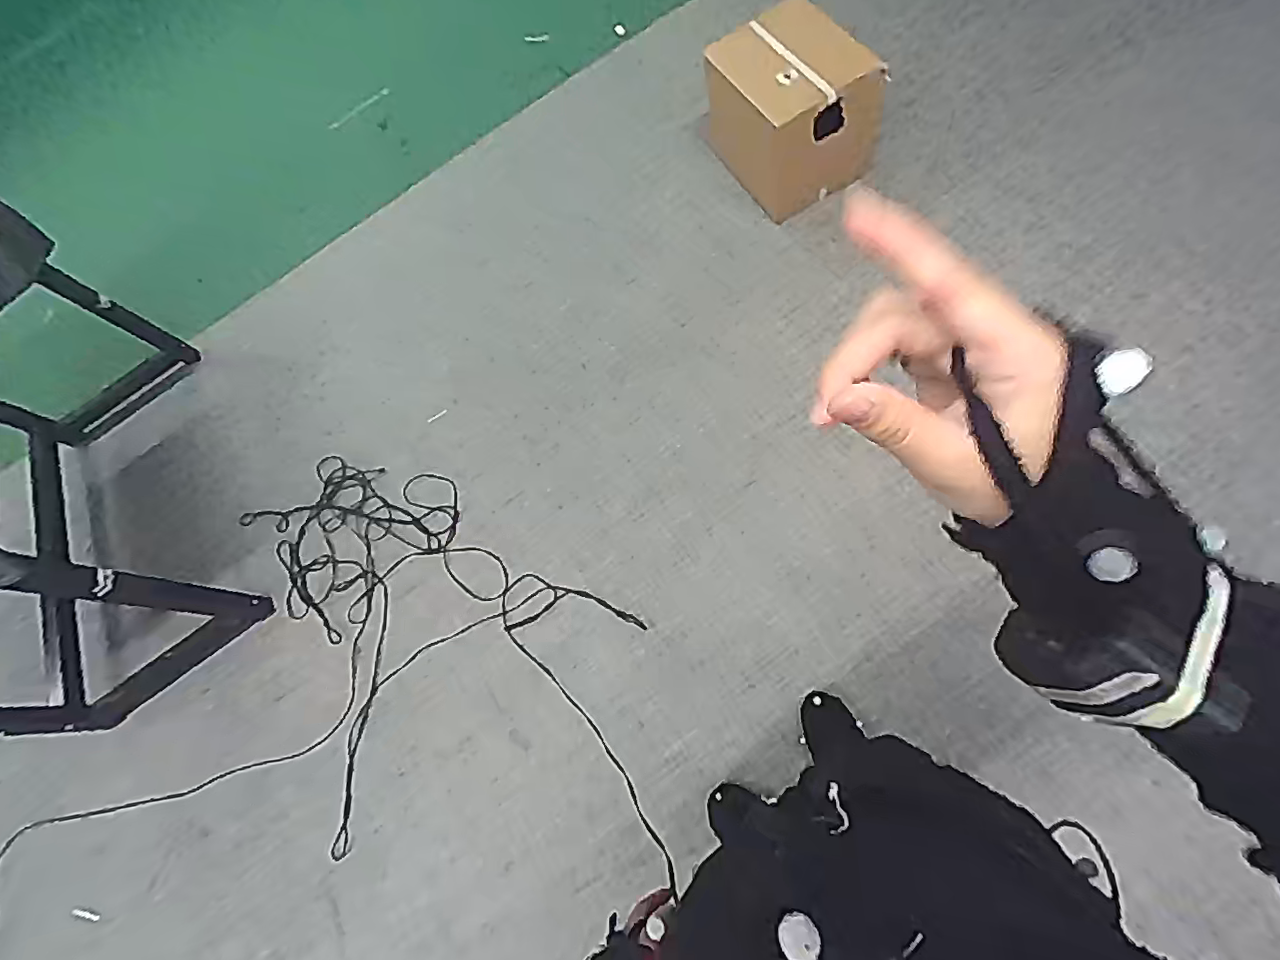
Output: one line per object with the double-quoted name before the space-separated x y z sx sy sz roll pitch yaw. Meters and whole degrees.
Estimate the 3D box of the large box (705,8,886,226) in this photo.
"large box" 0.430 -1.040 1.569 0.320 0.320 0.408 -29 66 3
